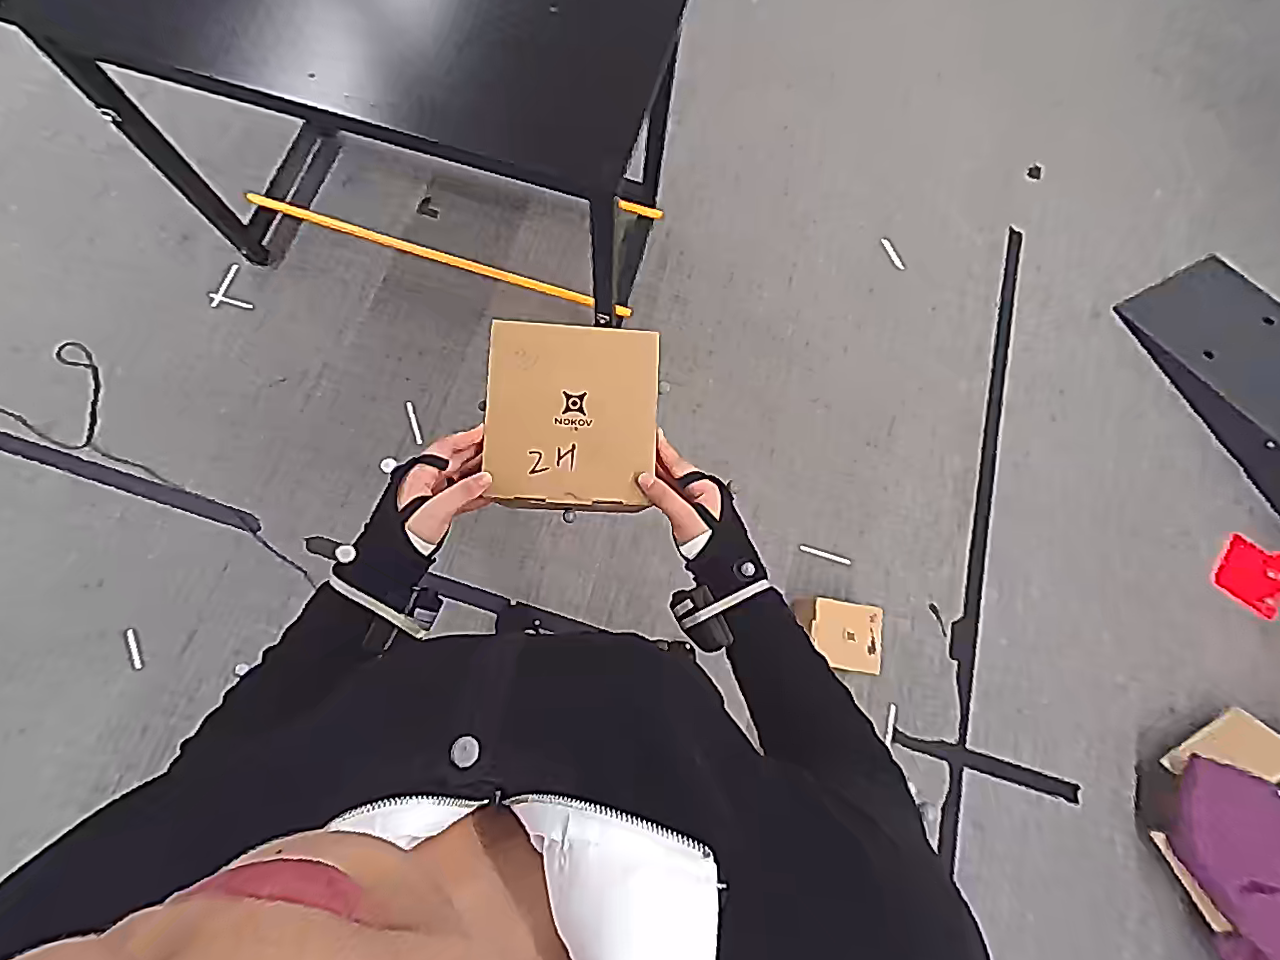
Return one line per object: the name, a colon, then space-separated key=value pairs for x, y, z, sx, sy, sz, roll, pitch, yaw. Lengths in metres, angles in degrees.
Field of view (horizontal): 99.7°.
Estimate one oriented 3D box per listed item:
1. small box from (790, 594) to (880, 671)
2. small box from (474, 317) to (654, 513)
small box: x=0.515 y=0.407 z=1.445 sx=0.179 sy=0.176 sz=0.168 roll=11 pitch=75 yaw=0
small box: x=-0.080 y=-0.059 z=0.602 sx=0.168 sy=0.176 sz=0.179 roll=3 pitch=83 yaw=-6
